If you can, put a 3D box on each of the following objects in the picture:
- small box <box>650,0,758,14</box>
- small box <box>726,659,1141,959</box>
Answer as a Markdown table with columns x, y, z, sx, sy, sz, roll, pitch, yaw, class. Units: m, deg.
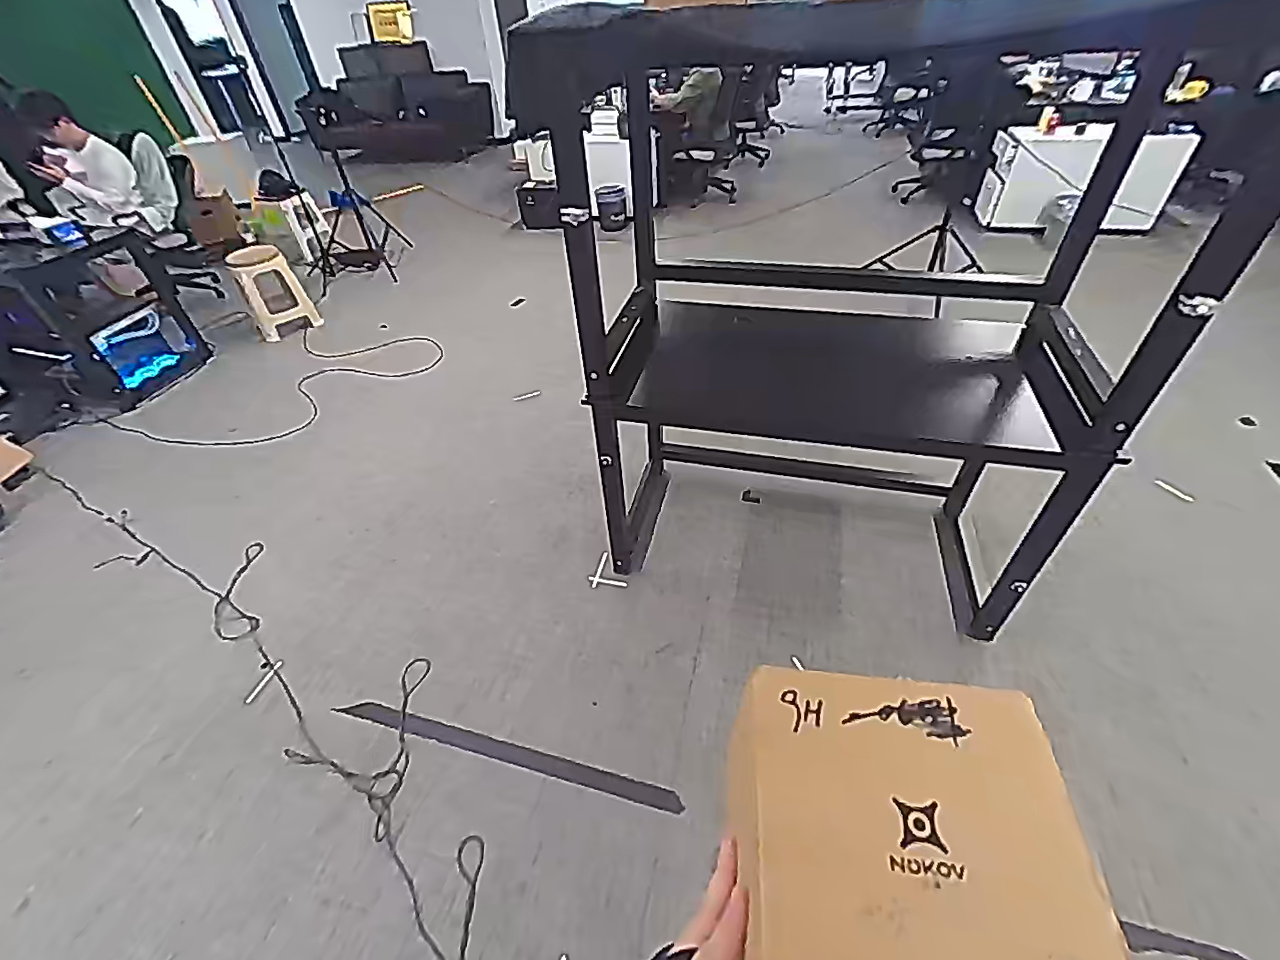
| x | y | z | sx | sy | sz | roll | pitch | yaw | class |
| --- | --- | --- | --- | --- | --- | --- | --- | --- | --- |
| 0.110 | -0.861 | 0.864 | 0.168 | 0.176 | 0.179 | 8 | 42 | 12 | small box |
| 0.145 | 0.234 | 0.329 | 0.168 | 0.176 | 0.179 | 5 | 48 | 5 | small box |
